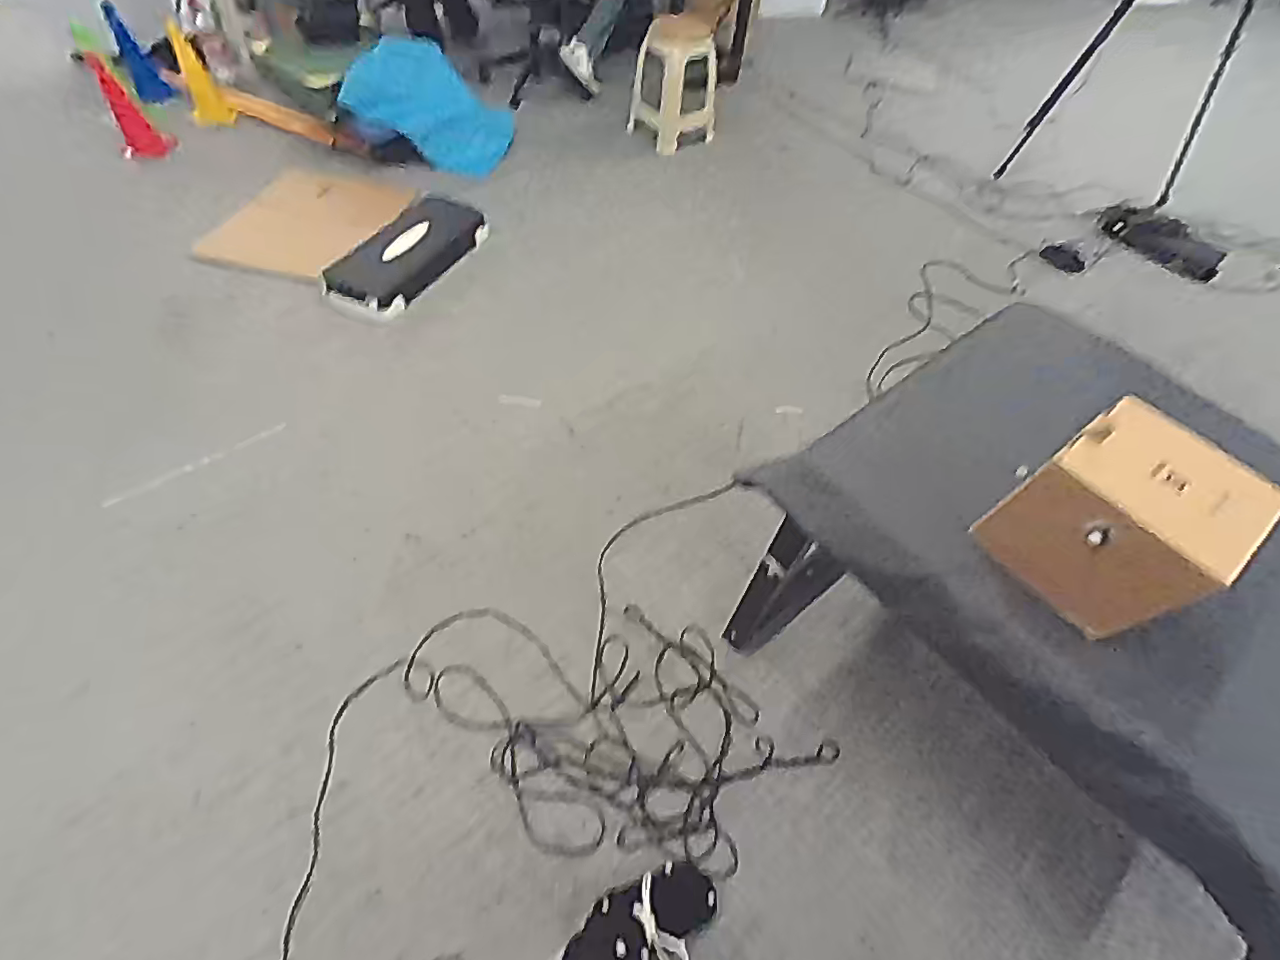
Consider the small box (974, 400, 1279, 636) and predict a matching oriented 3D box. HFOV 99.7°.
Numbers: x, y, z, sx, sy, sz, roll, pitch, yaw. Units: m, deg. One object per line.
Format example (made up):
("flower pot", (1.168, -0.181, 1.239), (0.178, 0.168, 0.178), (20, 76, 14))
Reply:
("small box", (0.535, 0.047, 0.617), (0.168, 0.176, 0.179), (-30, 64, -22))
